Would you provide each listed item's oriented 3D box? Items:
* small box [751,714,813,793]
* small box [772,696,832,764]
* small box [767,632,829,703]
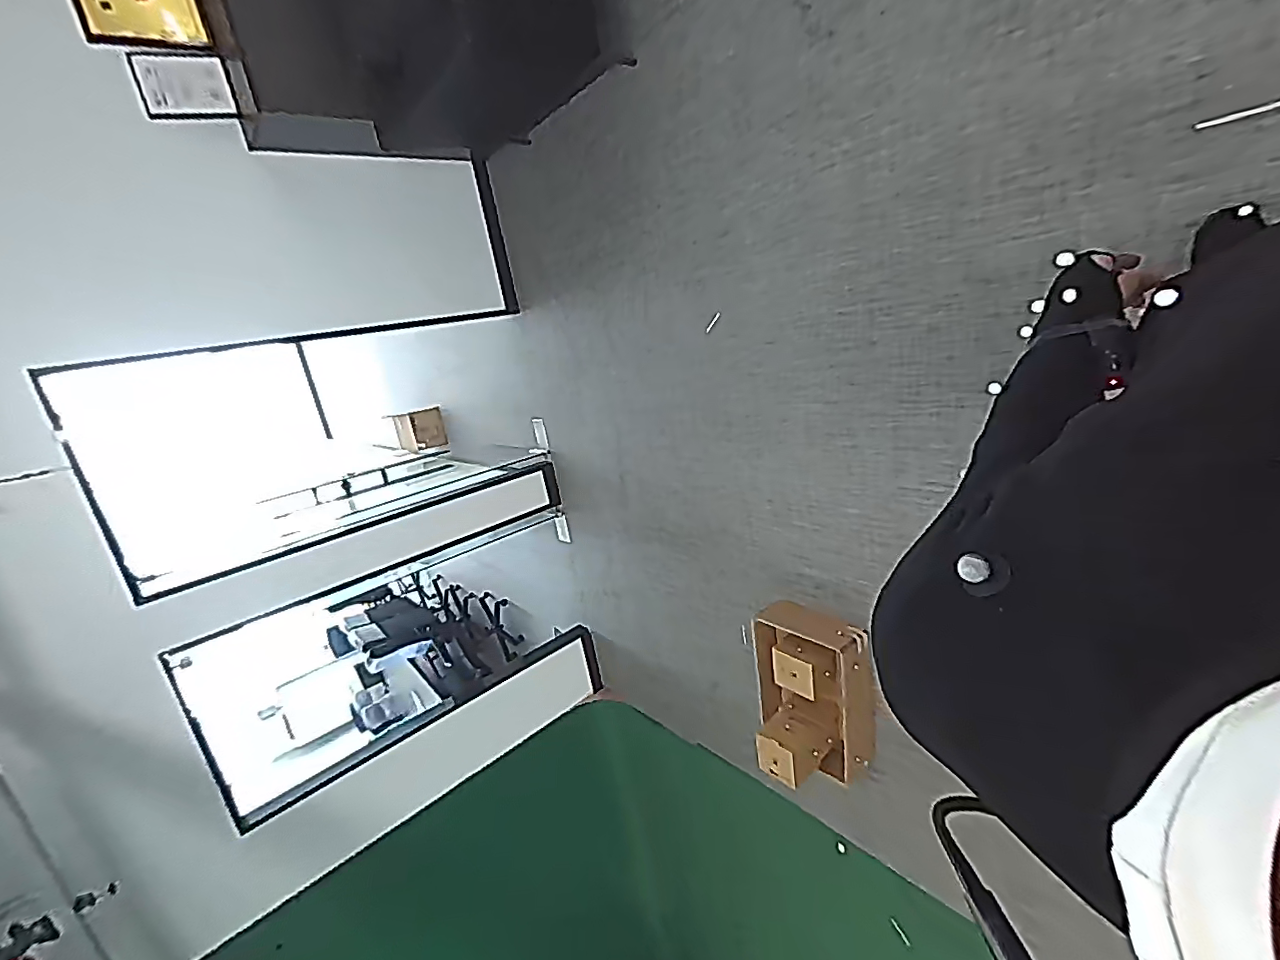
[{"bbox_3d":[0.542,1.029,2.058,0.168,0.176,0.179,11,114,49],"label":"small box"},{"bbox_3d":[0.657,0.986,2.167,0.179,0.176,0.168,11,115,49],"label":"small box"},{"bbox_3d":[0.614,0.715,2.087,0.179,0.176,0.168,13,116,48],"label":"small box"}]
